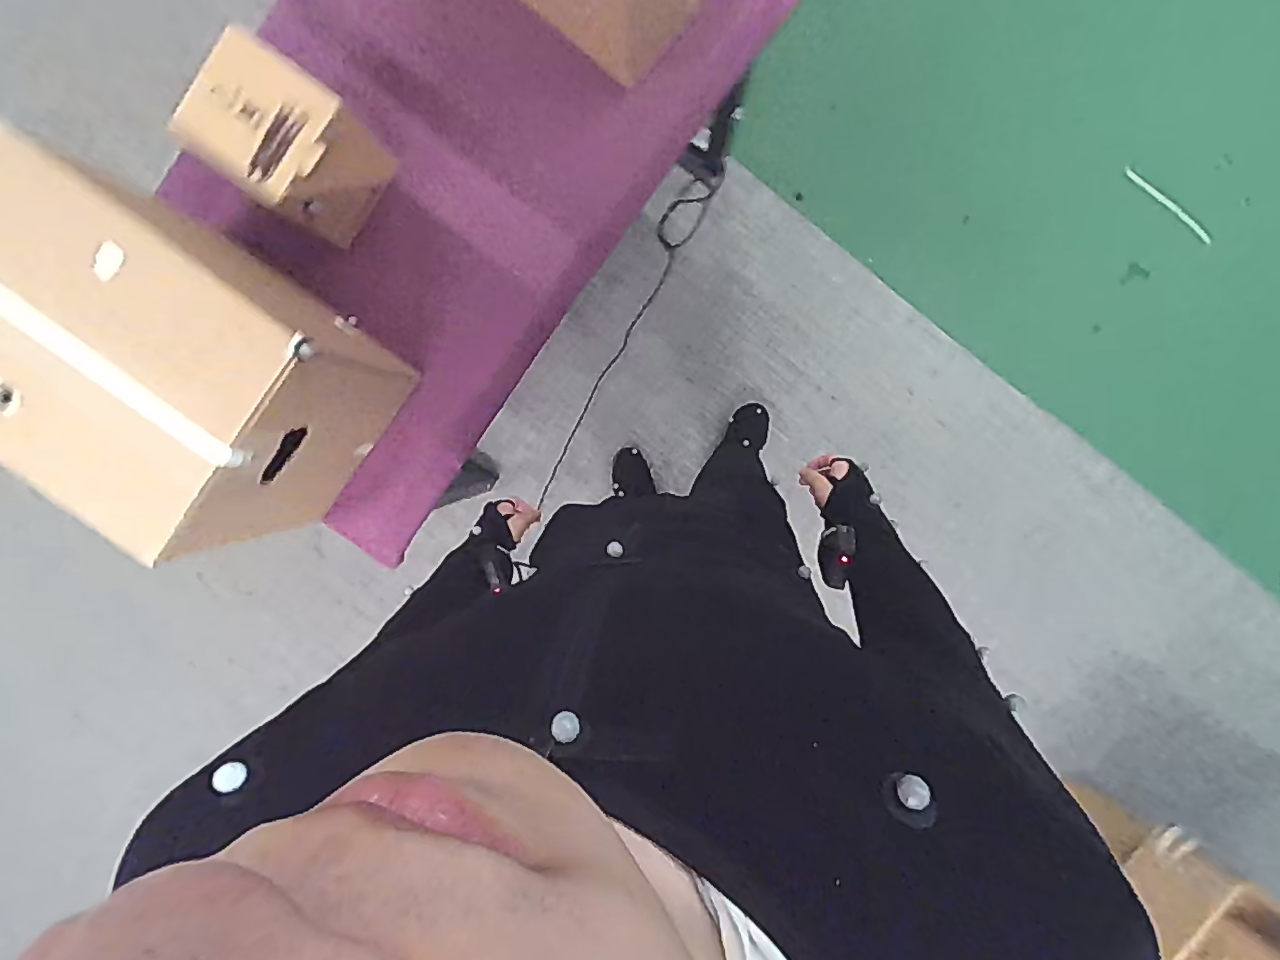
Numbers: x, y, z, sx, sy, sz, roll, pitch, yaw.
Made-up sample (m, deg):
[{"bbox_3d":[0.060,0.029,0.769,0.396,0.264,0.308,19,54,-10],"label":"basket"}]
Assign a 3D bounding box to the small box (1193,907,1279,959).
[{"bbox_3d":[1.419,1.110,1.200,0.179,0.176,0.168,34,94,-3],"label":"small box"}]
